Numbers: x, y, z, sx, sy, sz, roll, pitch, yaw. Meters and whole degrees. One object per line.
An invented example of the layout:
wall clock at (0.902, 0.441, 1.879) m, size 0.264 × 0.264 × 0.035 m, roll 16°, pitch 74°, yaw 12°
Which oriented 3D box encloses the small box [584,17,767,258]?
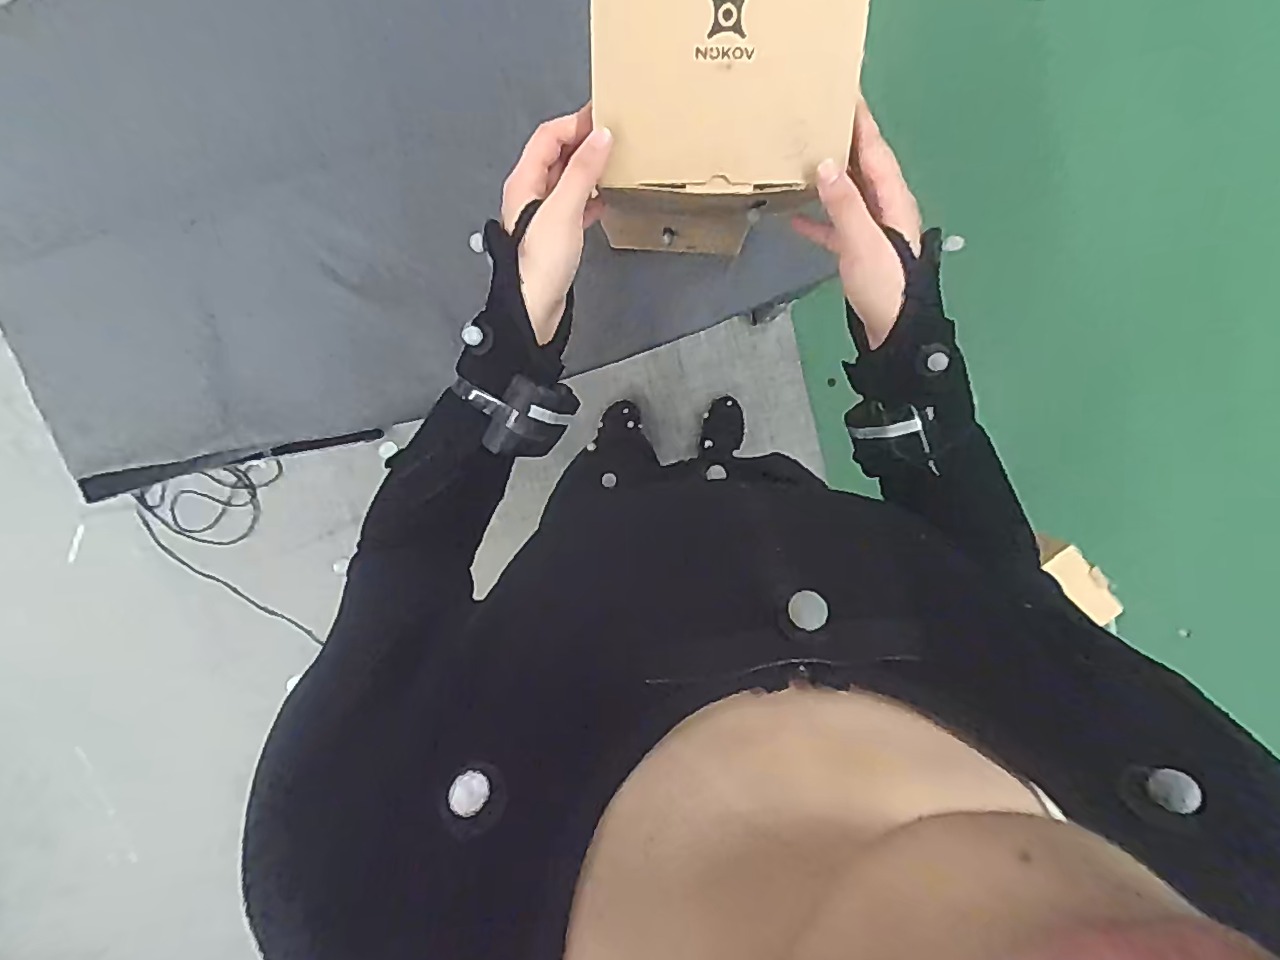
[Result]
small box at (0.038, -0.357, 0.597) m, size 0.168 × 0.176 × 0.179 m, roll 4°, pitch 97°, yaw 3°
